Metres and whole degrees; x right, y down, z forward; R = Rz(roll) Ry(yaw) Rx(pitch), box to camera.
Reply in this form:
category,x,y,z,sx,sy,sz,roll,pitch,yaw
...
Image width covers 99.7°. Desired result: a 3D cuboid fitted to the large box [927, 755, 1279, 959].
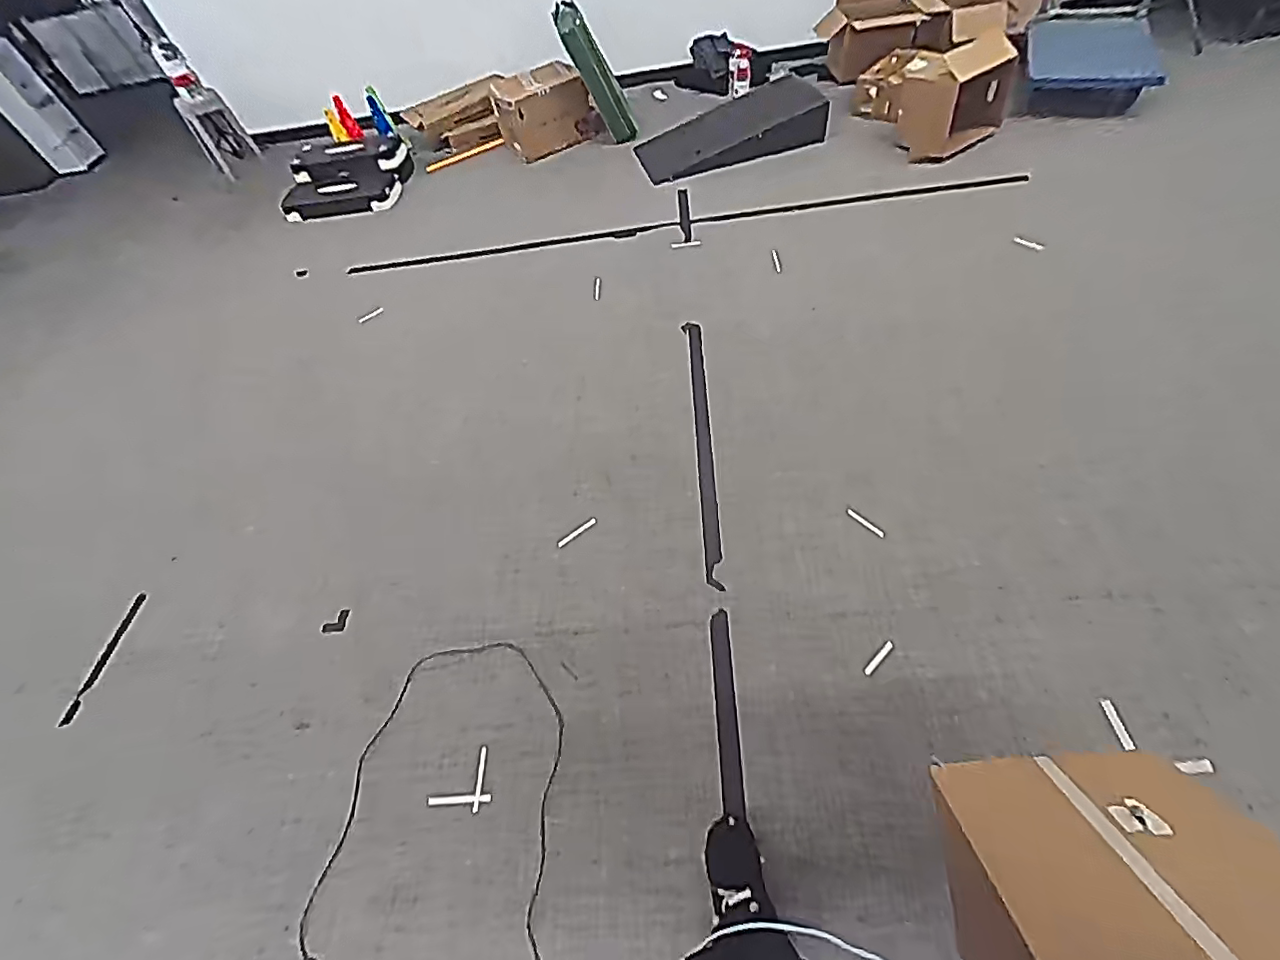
category,x,y,z,sx,sy,sz,roll,pitch,yaw
large box,0.593,0.594,0.635,0.320,0.408,0.320,-8,93,10
